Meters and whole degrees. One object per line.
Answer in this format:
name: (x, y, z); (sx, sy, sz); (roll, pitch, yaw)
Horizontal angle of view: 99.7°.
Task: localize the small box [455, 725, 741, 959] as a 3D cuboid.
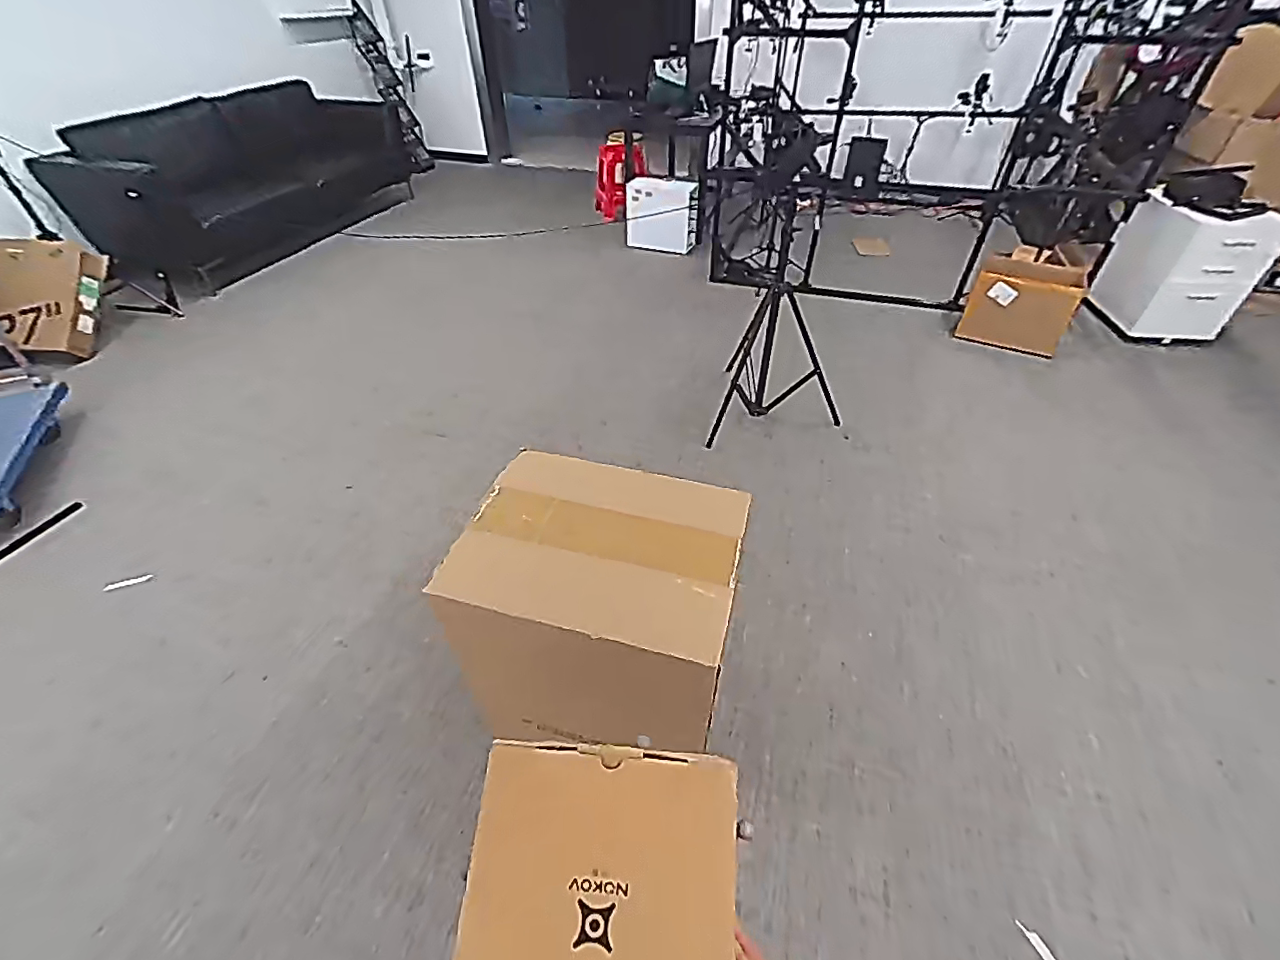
small box: (-0.016, 0.282, 0.389); (0.168, 0.176, 0.179); (2, 63, 6)
